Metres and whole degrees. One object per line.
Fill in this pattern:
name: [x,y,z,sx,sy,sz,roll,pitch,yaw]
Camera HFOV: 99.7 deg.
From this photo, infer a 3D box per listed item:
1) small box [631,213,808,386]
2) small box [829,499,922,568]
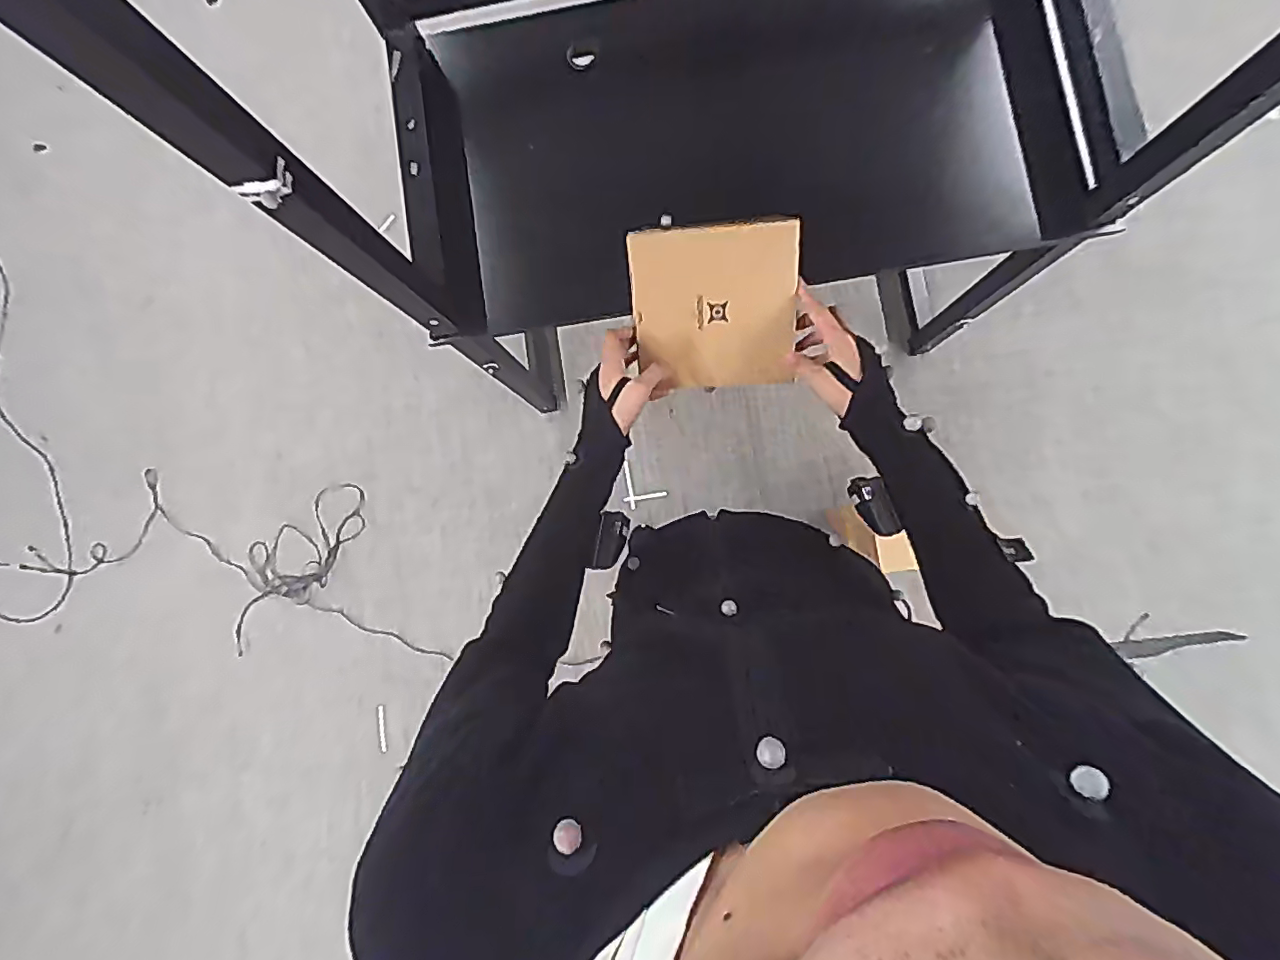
small box: [0.092,-0.216,0.637,0.179,0.176,0.168,-1,117,9]
small box: [0.649,0.146,1.508,0.179,0.176,0.168,-11,84,5]
